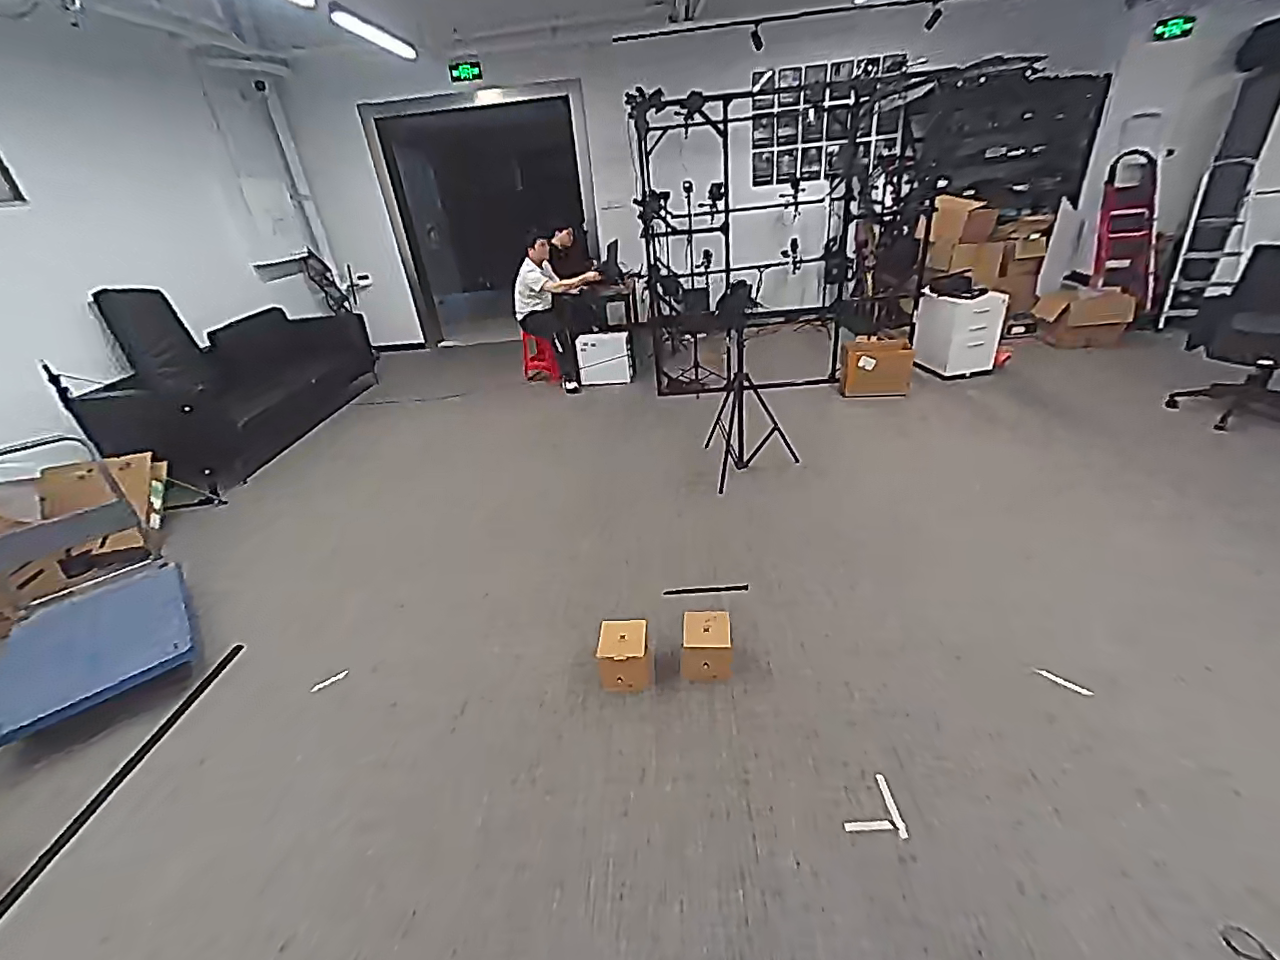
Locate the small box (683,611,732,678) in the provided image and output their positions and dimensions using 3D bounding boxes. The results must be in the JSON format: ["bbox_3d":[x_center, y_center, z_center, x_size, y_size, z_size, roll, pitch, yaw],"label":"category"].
[{"bbox_3d":[0.245,0.594,1.949,0.168,0.176,0.179,-2,29,7],"label":"small box"}]

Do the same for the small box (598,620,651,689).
[{"bbox_3d":[-0.051,0.629,1.951,0.168,0.176,0.179,-4,29,5],"label":"small box"}]
